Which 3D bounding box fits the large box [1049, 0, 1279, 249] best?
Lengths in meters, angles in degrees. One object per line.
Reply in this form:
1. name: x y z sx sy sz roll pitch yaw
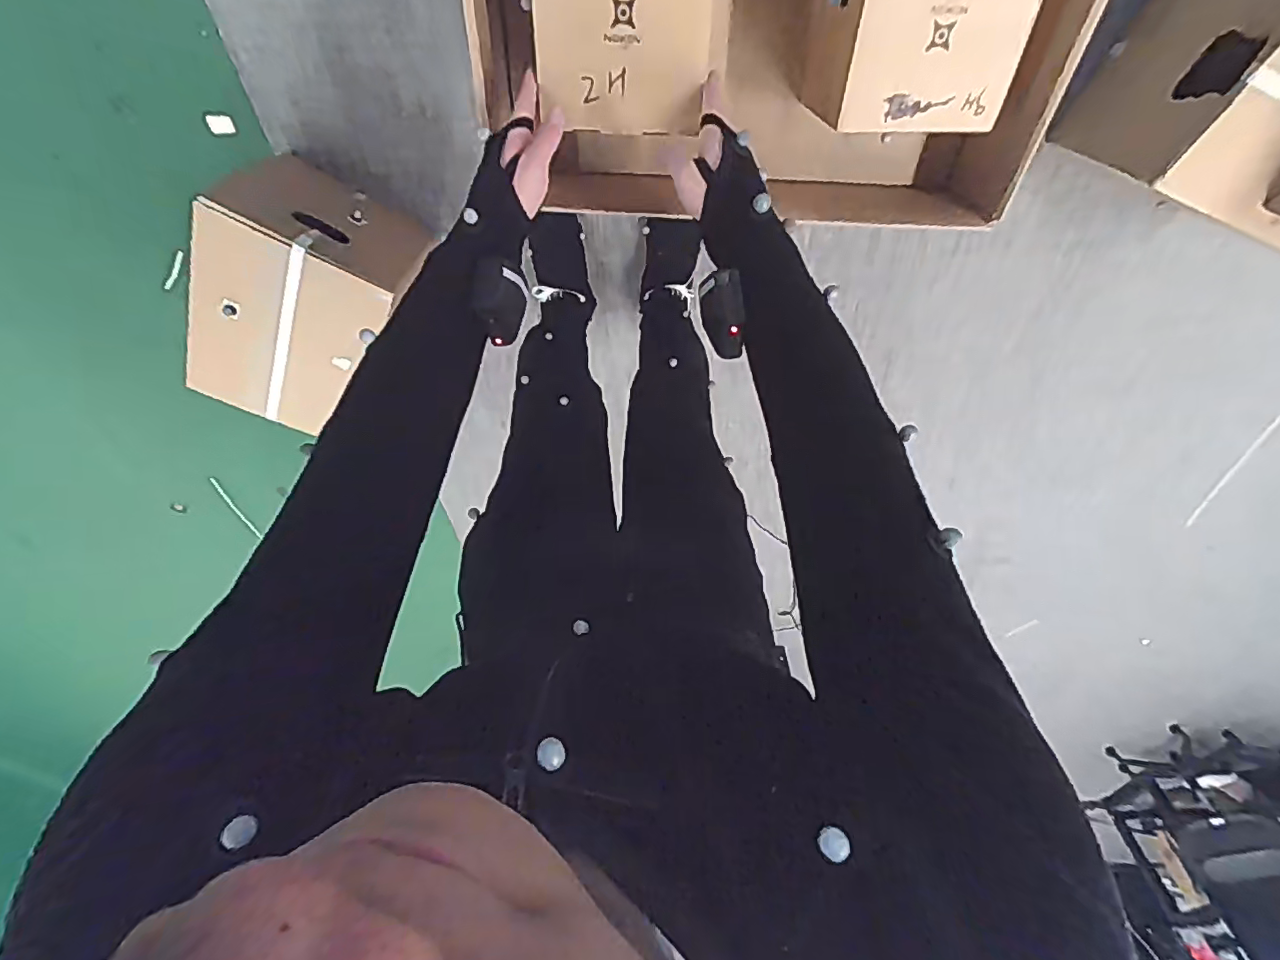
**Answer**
1. large box: 1.045 -0.639 0.918 0.408 0.320 0.320 14 131 -13
